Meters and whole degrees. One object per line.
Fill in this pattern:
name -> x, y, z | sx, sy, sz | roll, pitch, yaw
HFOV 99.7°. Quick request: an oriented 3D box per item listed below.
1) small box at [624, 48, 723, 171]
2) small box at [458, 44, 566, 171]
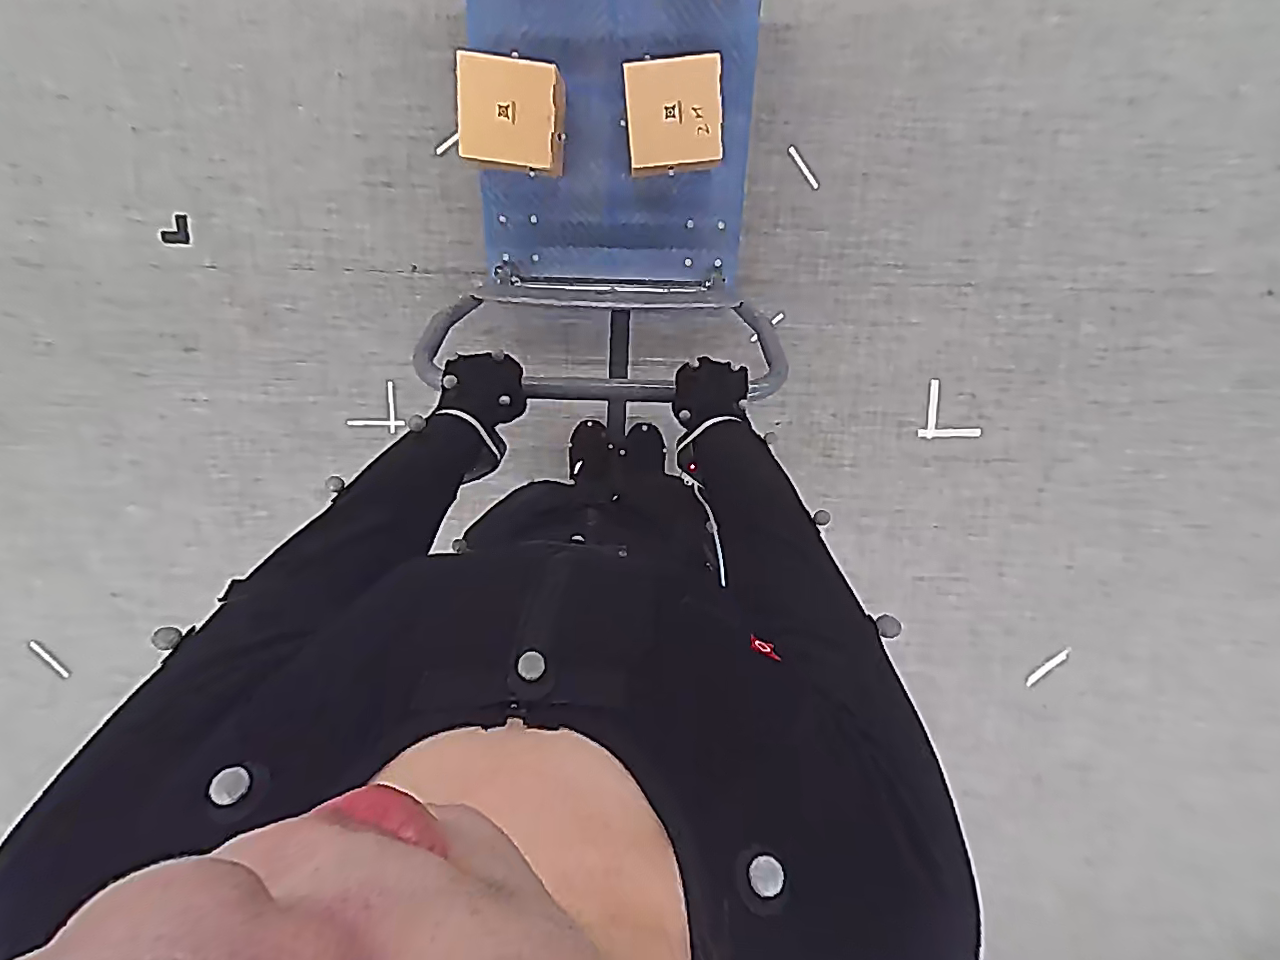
small box -> 0.064, -0.712, 1.057 | 0.179, 0.176, 0.168 | -5, 115, 2
small box -> -0.244, -0.712, 1.054 | 0.179, 0.176, 0.168 | 5, 115, -5
